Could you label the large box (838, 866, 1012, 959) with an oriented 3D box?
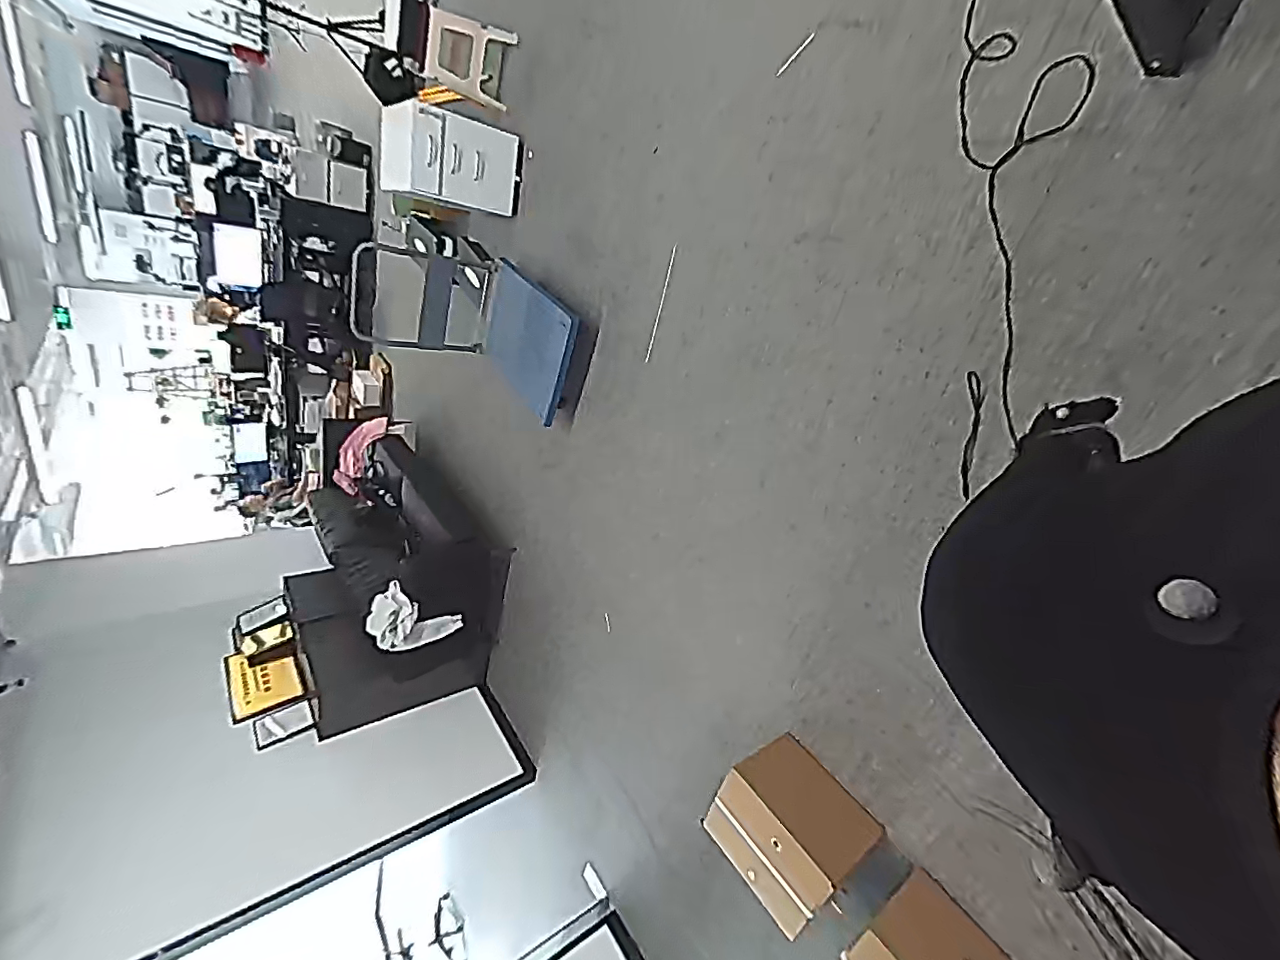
[{"bbox_3d":[0.786,1.376,1.445,0.408,0.320,0.320,39,123,38],"label":"large box"}]
